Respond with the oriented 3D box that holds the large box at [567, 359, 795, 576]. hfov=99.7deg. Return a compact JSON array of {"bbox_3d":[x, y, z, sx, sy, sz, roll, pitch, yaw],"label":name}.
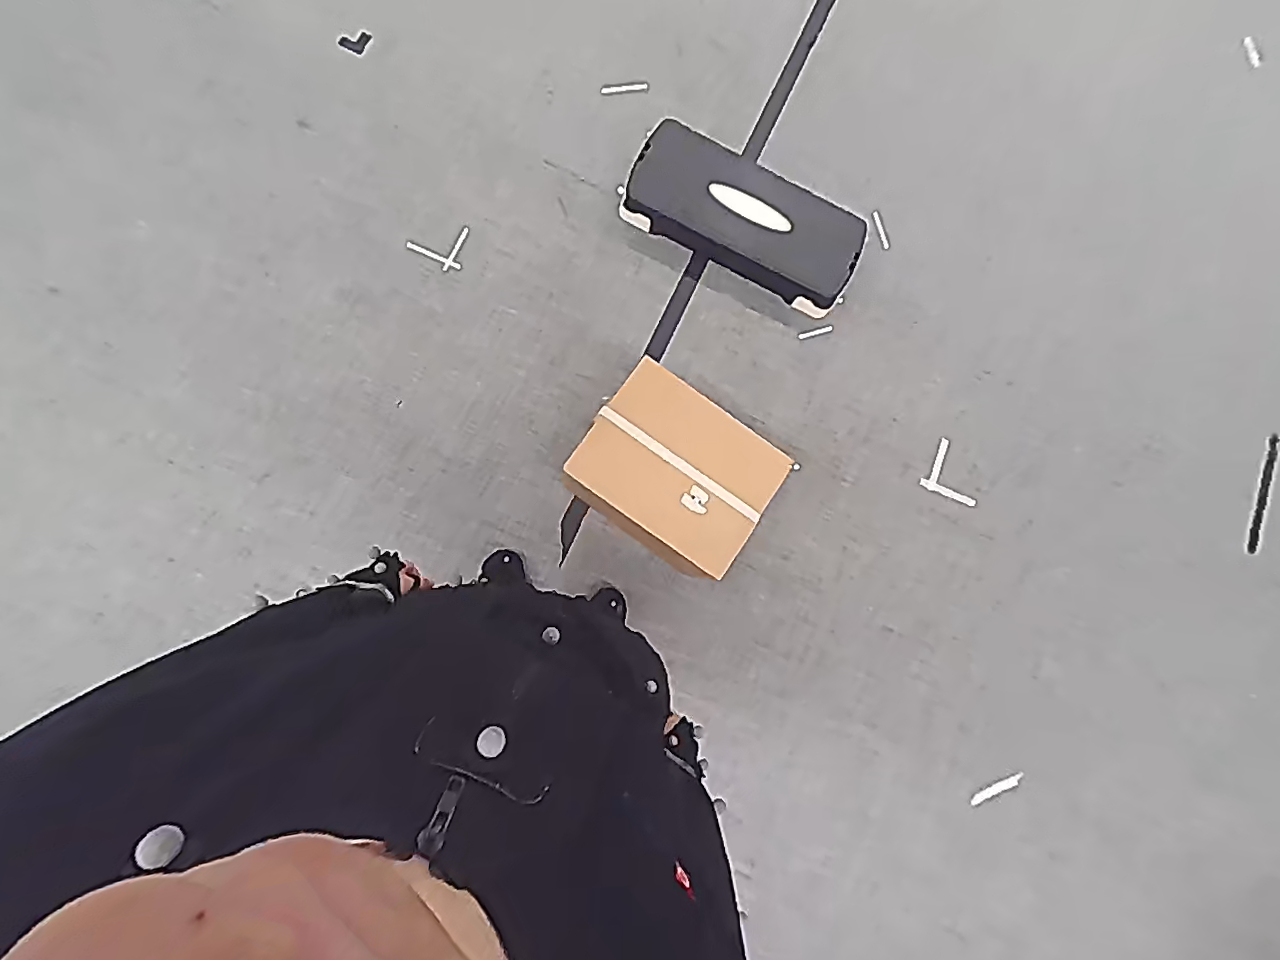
[{"bbox_3d":[0.074,-0.013,1.289,0.408,0.320,0.320,35,81,-2],"label":"large box"}]
